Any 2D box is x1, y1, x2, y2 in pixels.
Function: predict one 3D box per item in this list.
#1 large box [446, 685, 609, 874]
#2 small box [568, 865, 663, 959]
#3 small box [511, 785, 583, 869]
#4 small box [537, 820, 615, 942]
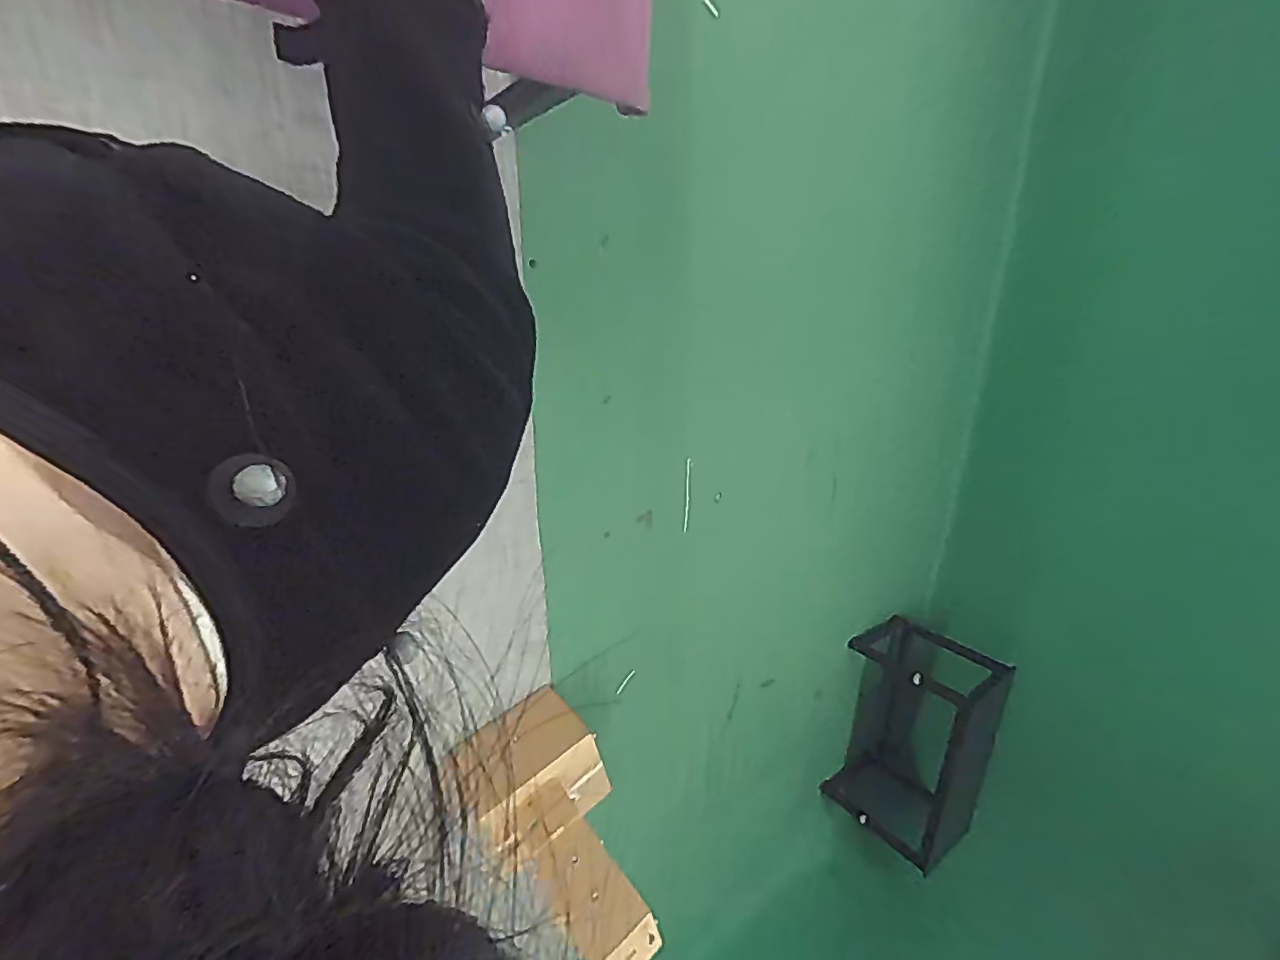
[{"bbox_3d":[-0.379,0.998,1.845,0.408,0.320,0.320,-29,122,-29],"label":"large box"},{"bbox_3d":[-0.069,1.154,1.388,0.179,0.176,0.168,-27,120,-27],"label":"small box"},{"bbox_3d":[-0.267,1.066,1.635,0.168,0.176,0.179,-27,120,-29],"label":"small box"},{"bbox_3d":[-0.171,1.111,1.511,0.179,0.176,0.168,-29,121,-28],"label":"small box"}]
